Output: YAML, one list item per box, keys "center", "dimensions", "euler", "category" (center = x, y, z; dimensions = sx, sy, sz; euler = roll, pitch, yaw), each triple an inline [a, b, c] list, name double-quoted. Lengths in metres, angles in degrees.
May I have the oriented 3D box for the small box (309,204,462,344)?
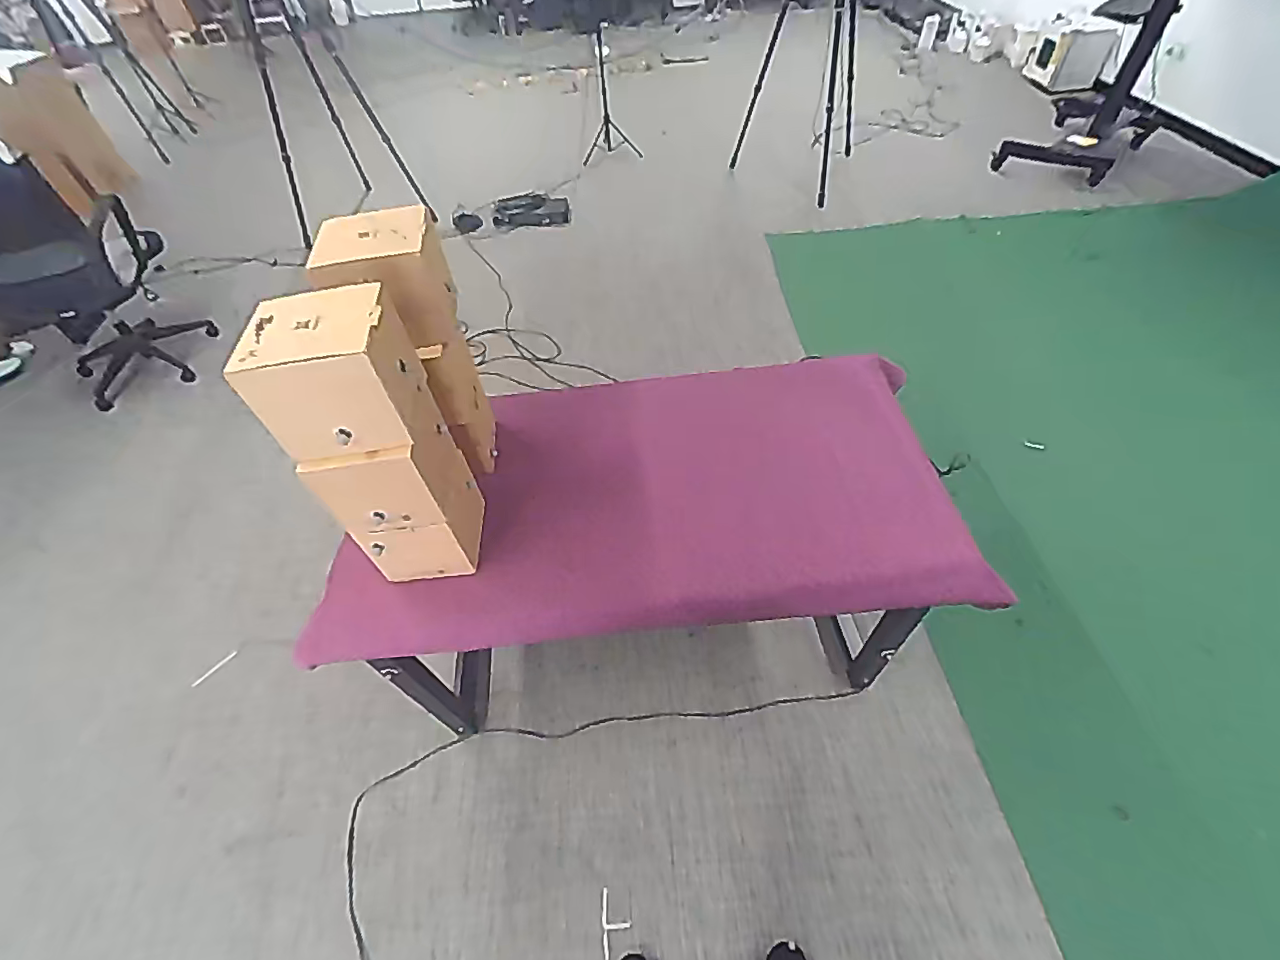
- center: [-0.422, -0.343, 0.926]
  dimensions: [0.179, 0.176, 0.168]
  euler: [-10, 52, -4]
  category: "small box"

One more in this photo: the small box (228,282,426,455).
- center: [-0.425, -0.156, 0.775]
  dimensions: [0.179, 0.176, 0.168]
  euler: [-9, 50, -3]
  category: "small box"

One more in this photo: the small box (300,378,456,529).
- center: [-0.415, -0.043, 0.893]
  dimensions: [0.168, 0.176, 0.179]
  euler: [-8, 51, -2]
  category: "small box"
